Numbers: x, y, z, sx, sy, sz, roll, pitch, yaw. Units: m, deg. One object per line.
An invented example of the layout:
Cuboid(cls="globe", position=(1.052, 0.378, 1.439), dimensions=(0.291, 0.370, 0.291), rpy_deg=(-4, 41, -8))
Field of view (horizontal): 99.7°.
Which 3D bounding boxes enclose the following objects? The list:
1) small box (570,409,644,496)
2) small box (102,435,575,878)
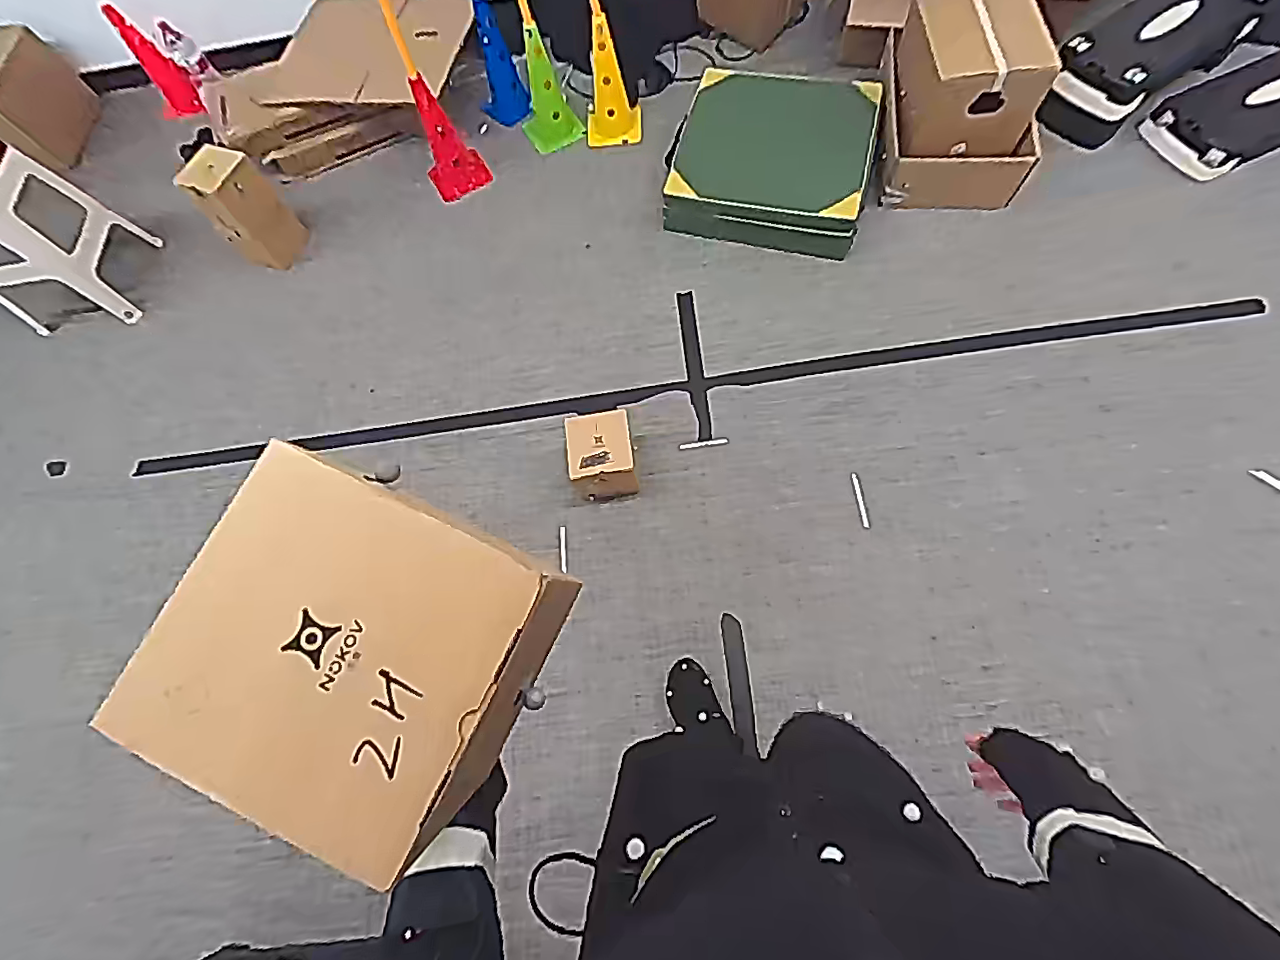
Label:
Cuboid(cls="small box", position=(-0.085, -0.066, 1.457), dimensions=(0.168, 0.176, 0.179), rpy_deg=(-9, 68, 3))
Cuboid(cls="small box", position=(-0.161, 0.098, 0.359), dimensions=(0.179, 0.176, 0.168), rpy_deg=(29, 81, 4))
